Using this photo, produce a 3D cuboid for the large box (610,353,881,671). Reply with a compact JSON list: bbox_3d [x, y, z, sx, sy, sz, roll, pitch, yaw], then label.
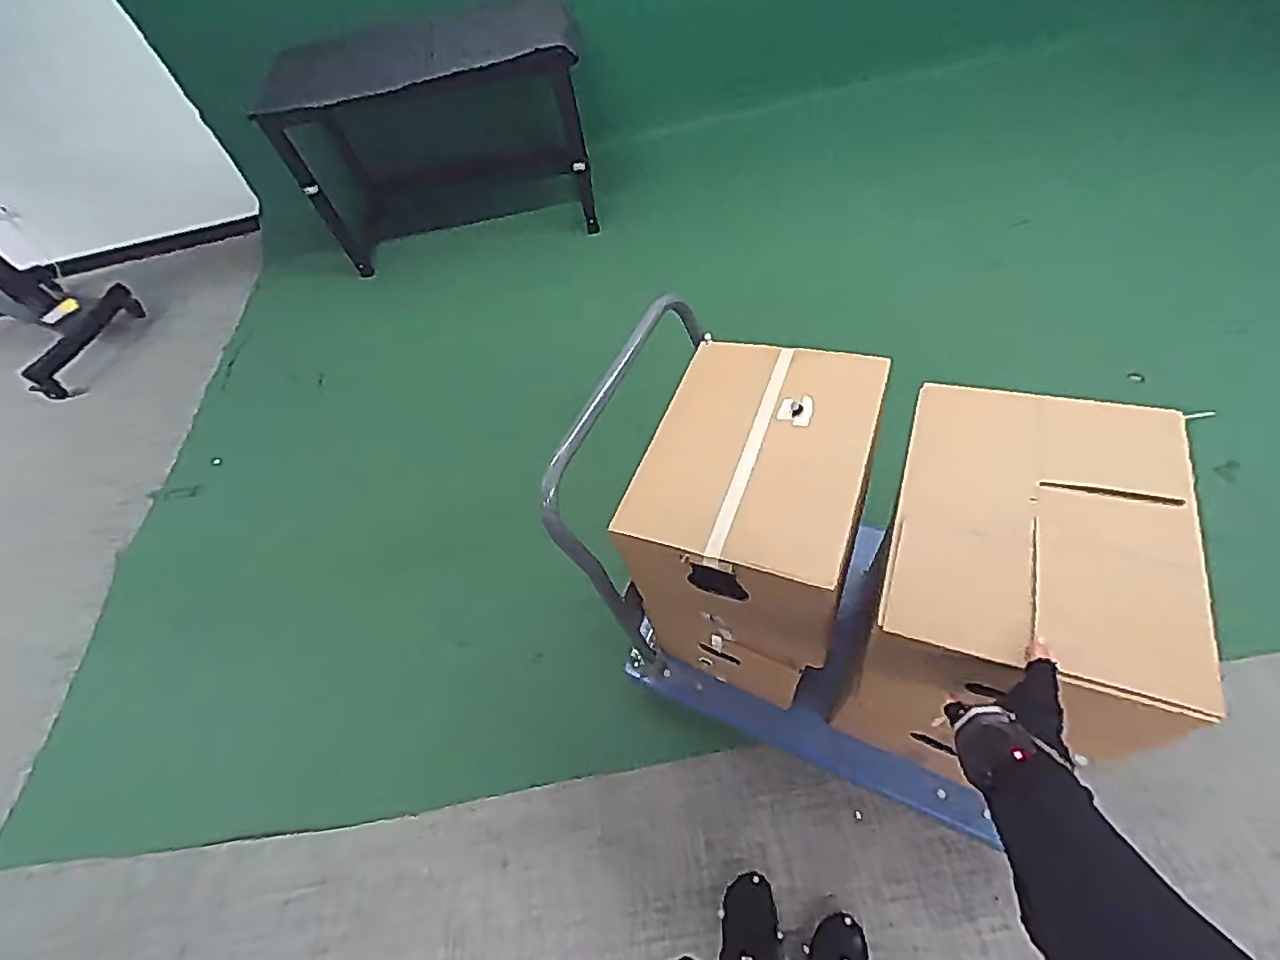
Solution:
[{"bbox_3d":[0.199,0.045,0.916,0.320,0.320,0.408,13,57,24],"label":"large box"}]
